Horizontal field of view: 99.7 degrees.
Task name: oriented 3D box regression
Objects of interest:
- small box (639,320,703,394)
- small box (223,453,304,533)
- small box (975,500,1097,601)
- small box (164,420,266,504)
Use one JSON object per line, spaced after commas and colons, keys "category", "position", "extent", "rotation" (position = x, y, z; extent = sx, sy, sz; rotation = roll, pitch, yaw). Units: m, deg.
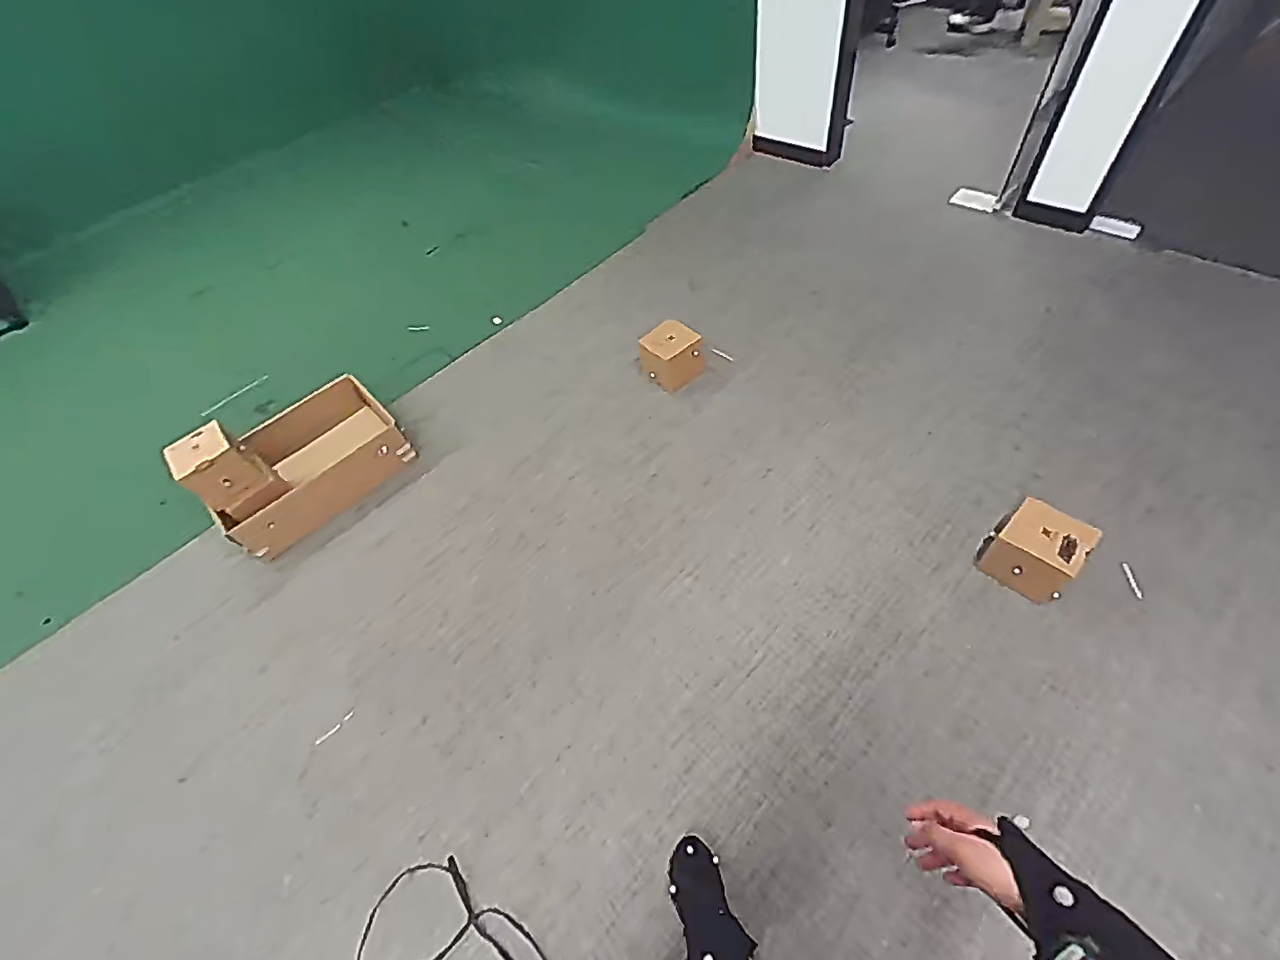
{"category": "small box", "position": [0.119, -0.459, 2.023], "extent": [0.179, 0.176, 0.168], "rotation": [-37, 57, -17]}
{"category": "small box", "position": [-1.278, 0.047, 1.810], "extent": [0.179, 0.176, 0.168], "rotation": [35, 66, 27]}
{"category": "small box", "position": [1.026, 0.192, 1.415], "extent": [0.168, 0.176, 0.179], "rotation": [-41, 58, -20]}
{"category": "small box", "position": [-1.313, -0.048, 1.681], "extent": [0.168, 0.176, 0.179], "rotation": [-39, 59, -18]}
